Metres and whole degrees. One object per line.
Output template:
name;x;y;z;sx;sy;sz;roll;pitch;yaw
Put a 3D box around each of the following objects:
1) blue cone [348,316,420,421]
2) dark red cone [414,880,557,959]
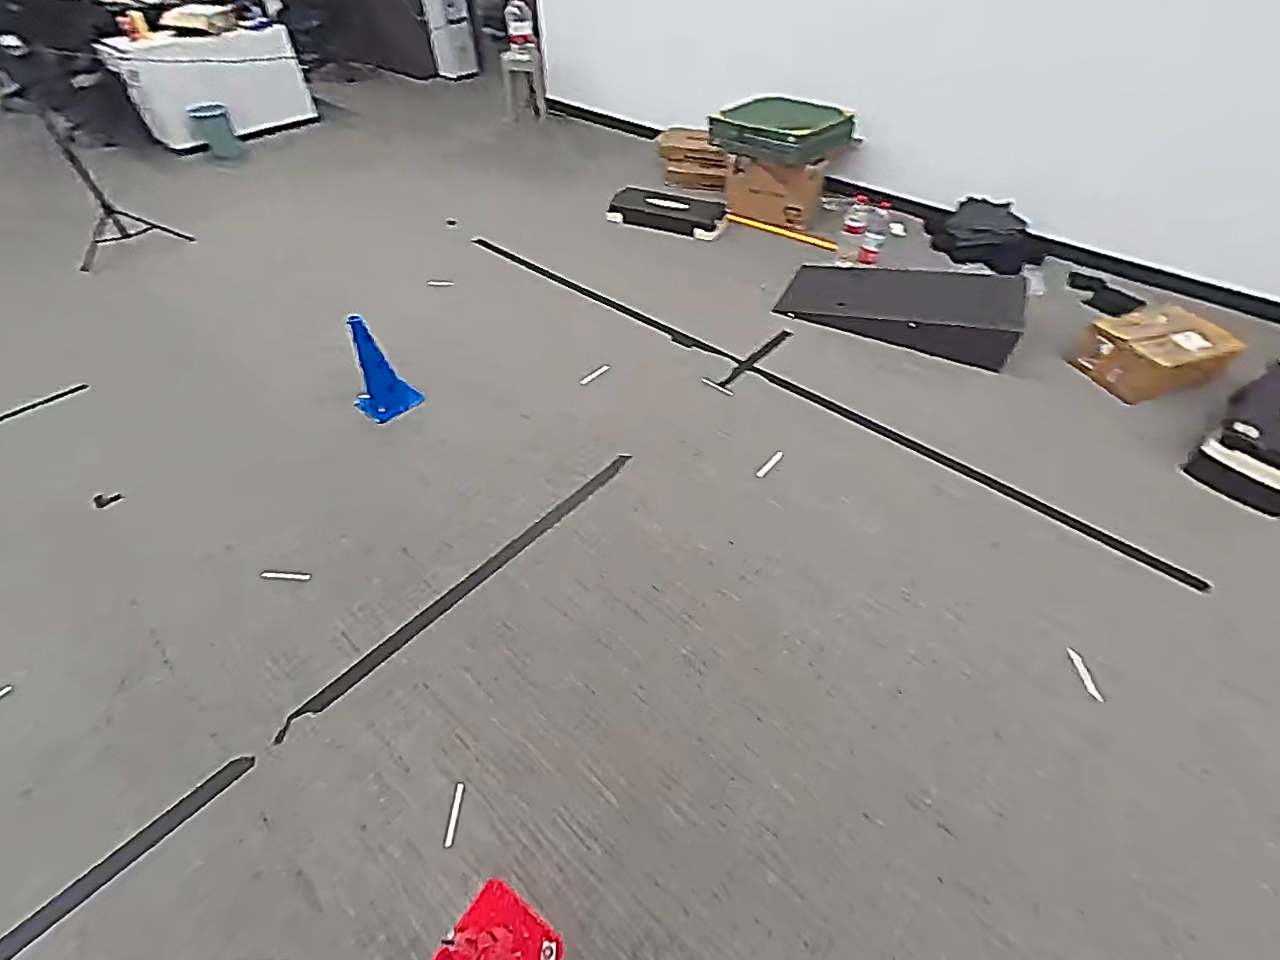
blue cone;-0.966;-0.414;1.961;0.192;0.380;0.193;33;56;27
dark red cone;-0.279;0.772;0.856;0.201;0.394;0.202;26;53;23
